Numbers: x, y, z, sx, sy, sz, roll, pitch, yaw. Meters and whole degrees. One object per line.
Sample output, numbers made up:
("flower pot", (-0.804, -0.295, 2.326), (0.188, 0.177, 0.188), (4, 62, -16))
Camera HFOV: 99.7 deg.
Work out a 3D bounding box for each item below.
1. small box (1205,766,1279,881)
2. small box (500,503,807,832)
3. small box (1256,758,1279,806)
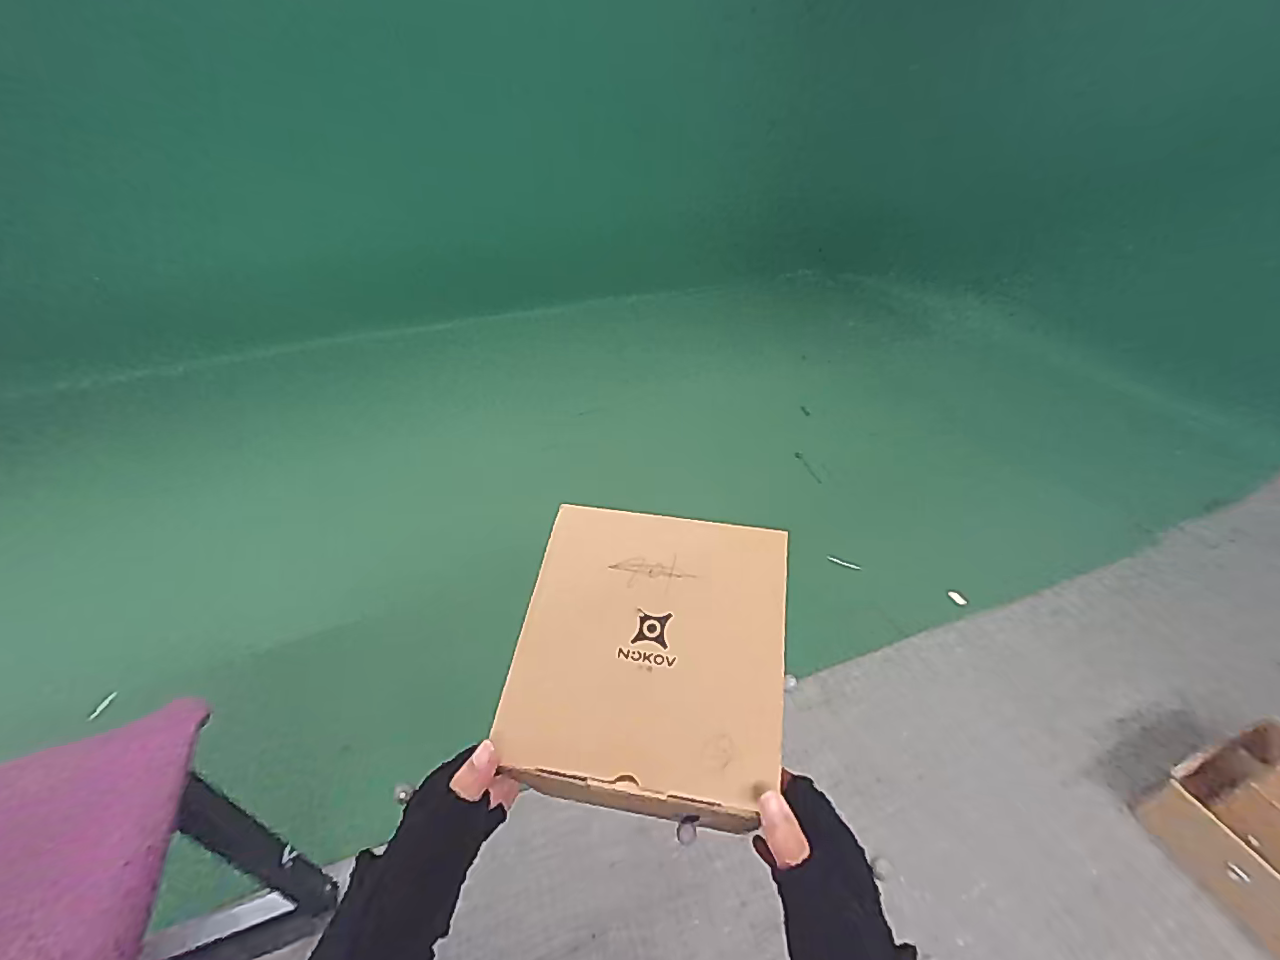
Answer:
("small box", (1.435, 0.746, 1.198), (0.179, 0.176, 0.168), (-14, 41, -16))
("small box", (0.021, 0.143, 0.400), (0.168, 0.176, 0.179), (8, 56, 9))
("small box", (1.437, 0.620, 1.094), (0.179, 0.176, 0.168), (-15, 42, -17))
